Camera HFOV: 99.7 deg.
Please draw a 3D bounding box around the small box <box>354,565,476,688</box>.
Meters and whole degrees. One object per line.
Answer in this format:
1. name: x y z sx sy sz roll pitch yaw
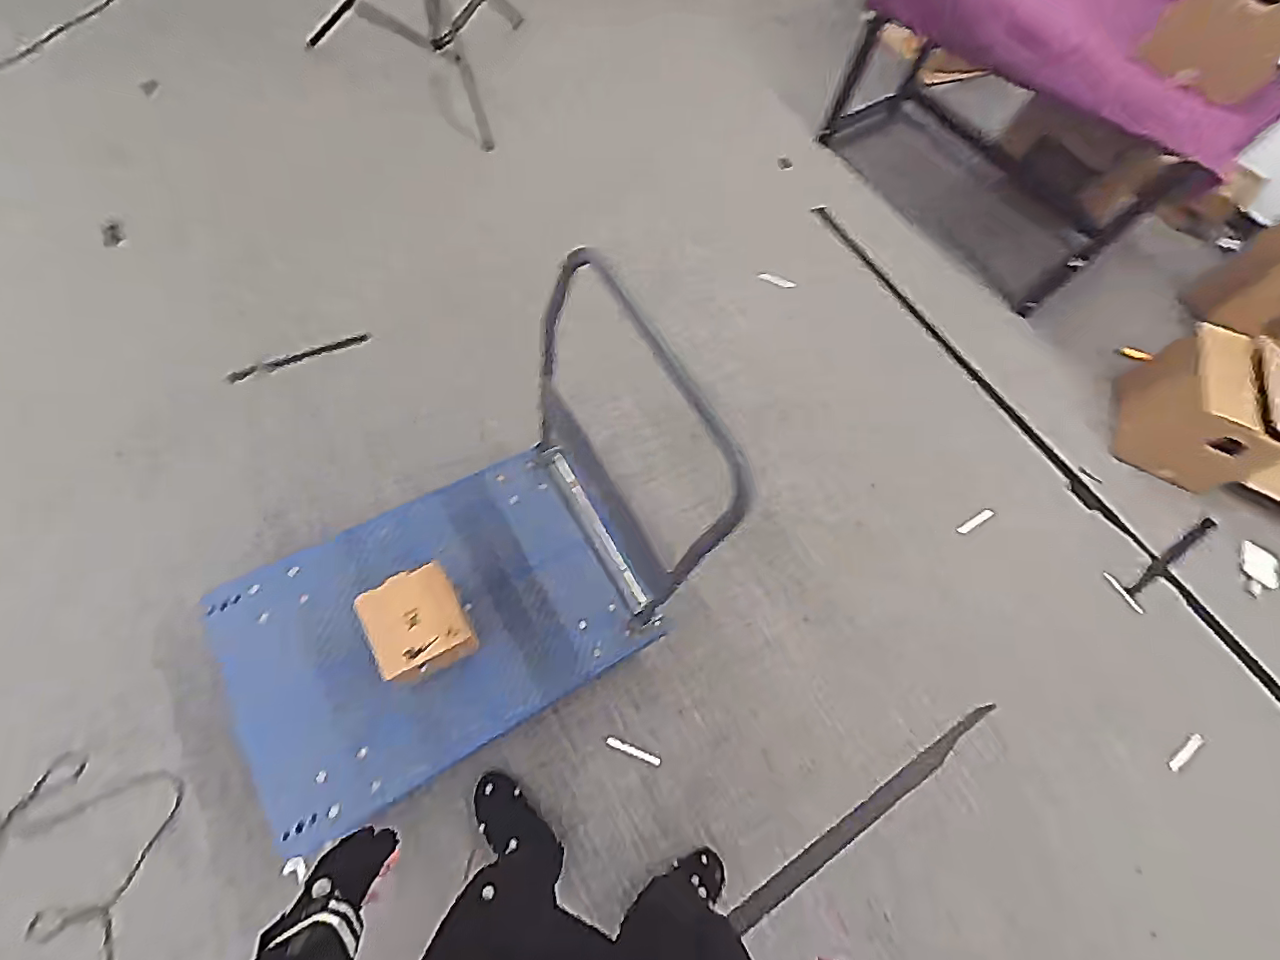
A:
1. small box: -0.457 0.307 1.117 0.168 0.176 0.179 -25 71 -19
